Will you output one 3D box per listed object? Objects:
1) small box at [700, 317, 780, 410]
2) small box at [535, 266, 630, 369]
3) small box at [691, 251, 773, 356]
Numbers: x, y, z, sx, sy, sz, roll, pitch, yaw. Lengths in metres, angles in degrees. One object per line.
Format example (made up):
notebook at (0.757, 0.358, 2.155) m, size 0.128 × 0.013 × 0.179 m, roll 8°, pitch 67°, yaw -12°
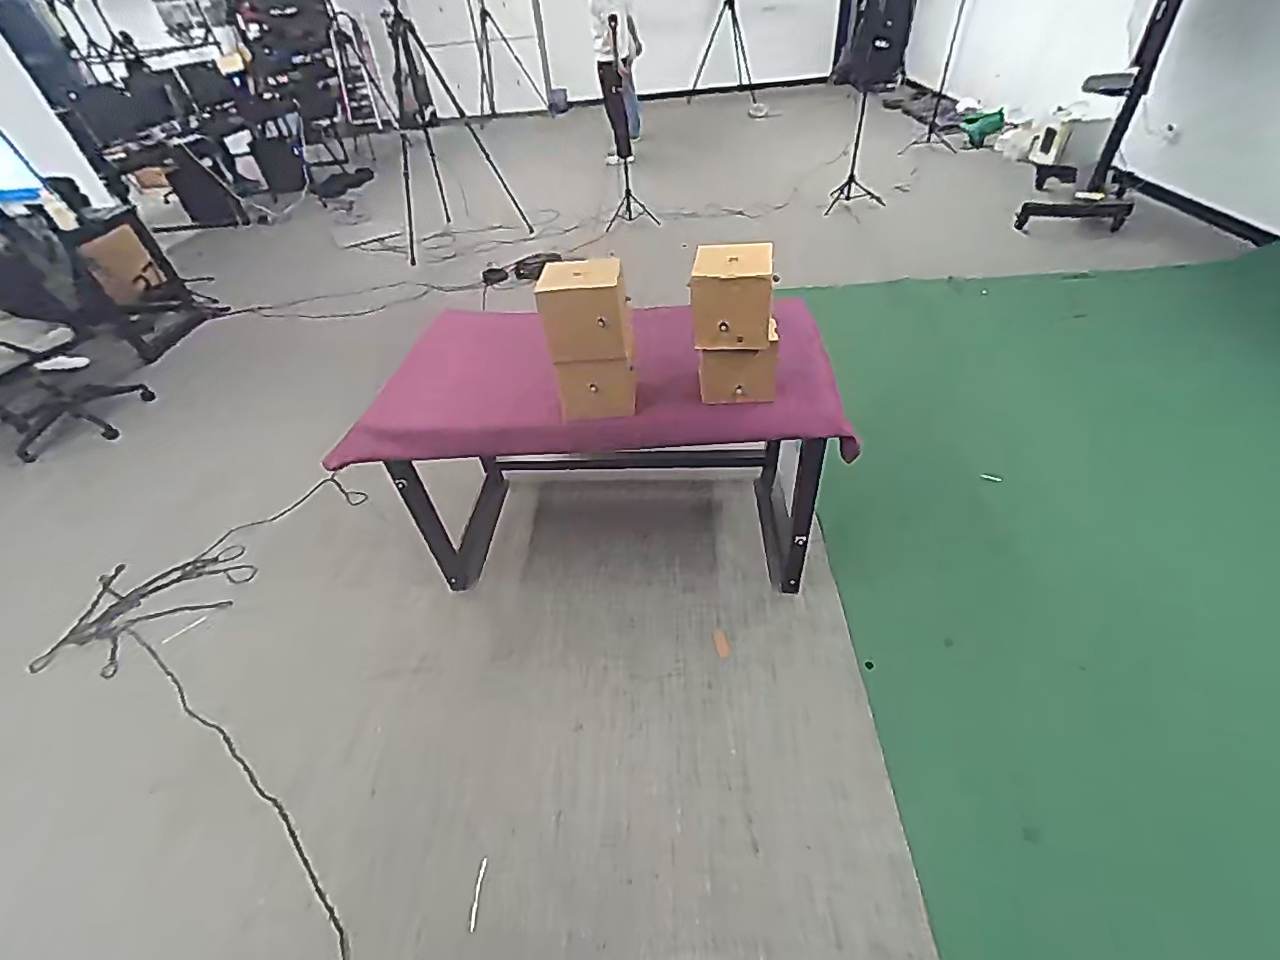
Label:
small box at (0.238, -0.287, 1.329) m, size 0.179 × 0.176 × 0.168 m, roll -3°, pitch 41°, yaw 5°
small box at (-0.119, -0.365, 1.221) m, size 0.179 × 0.176 × 0.168 m, roll -3°, pitch 40°, yaw 6°
small box at (0.207, -0.395, 1.208) m, size 0.168 × 0.176 × 0.179 m, roll 2°, pitch 43°, yaw 12°
